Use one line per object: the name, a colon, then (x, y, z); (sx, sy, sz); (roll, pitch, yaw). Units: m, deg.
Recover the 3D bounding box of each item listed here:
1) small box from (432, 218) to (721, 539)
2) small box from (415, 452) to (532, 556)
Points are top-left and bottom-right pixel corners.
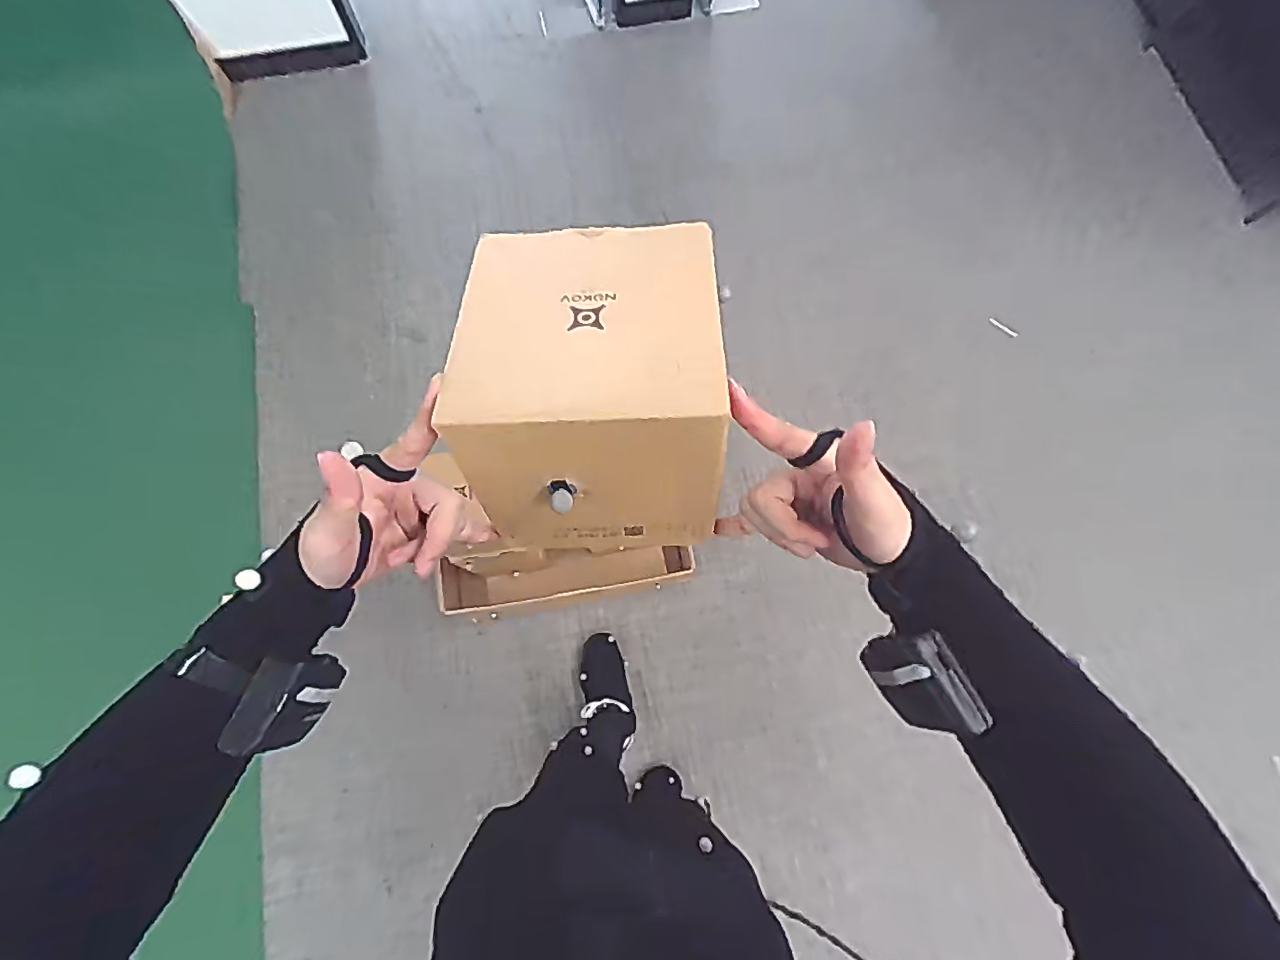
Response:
small box: (-0.029, -0.064, 0.405); (0.168, 0.176, 0.179); (-2, 57, 3)
small box: (-0.317, 0.046, 1.048); (0.179, 0.176, 0.168); (-8, 74, -4)
